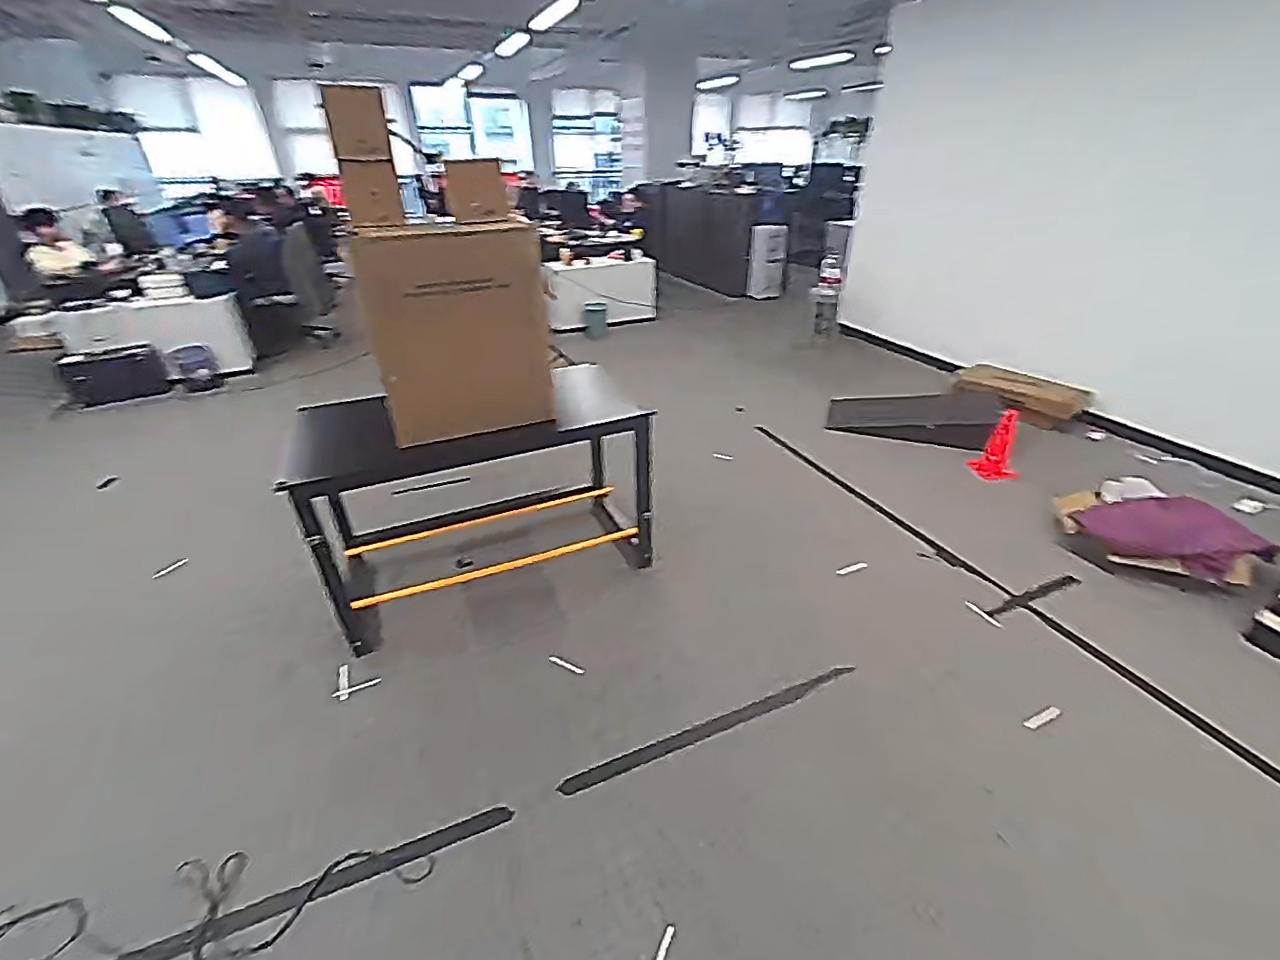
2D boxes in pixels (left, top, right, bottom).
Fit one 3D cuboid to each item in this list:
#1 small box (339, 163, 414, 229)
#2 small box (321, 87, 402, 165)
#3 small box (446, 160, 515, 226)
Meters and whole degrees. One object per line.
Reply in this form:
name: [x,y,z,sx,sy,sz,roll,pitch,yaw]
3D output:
small box: [-0.774,-0.839,1.595,0.168,0.176,0.179,-12,33,-21]
small box: [-0.765,-0.974,1.498,0.168,0.176,0.179,-12,33,-20]
small box: [-0.489,-0.881,1.659,0.168,0.176,0.179,-14,34,-17]
